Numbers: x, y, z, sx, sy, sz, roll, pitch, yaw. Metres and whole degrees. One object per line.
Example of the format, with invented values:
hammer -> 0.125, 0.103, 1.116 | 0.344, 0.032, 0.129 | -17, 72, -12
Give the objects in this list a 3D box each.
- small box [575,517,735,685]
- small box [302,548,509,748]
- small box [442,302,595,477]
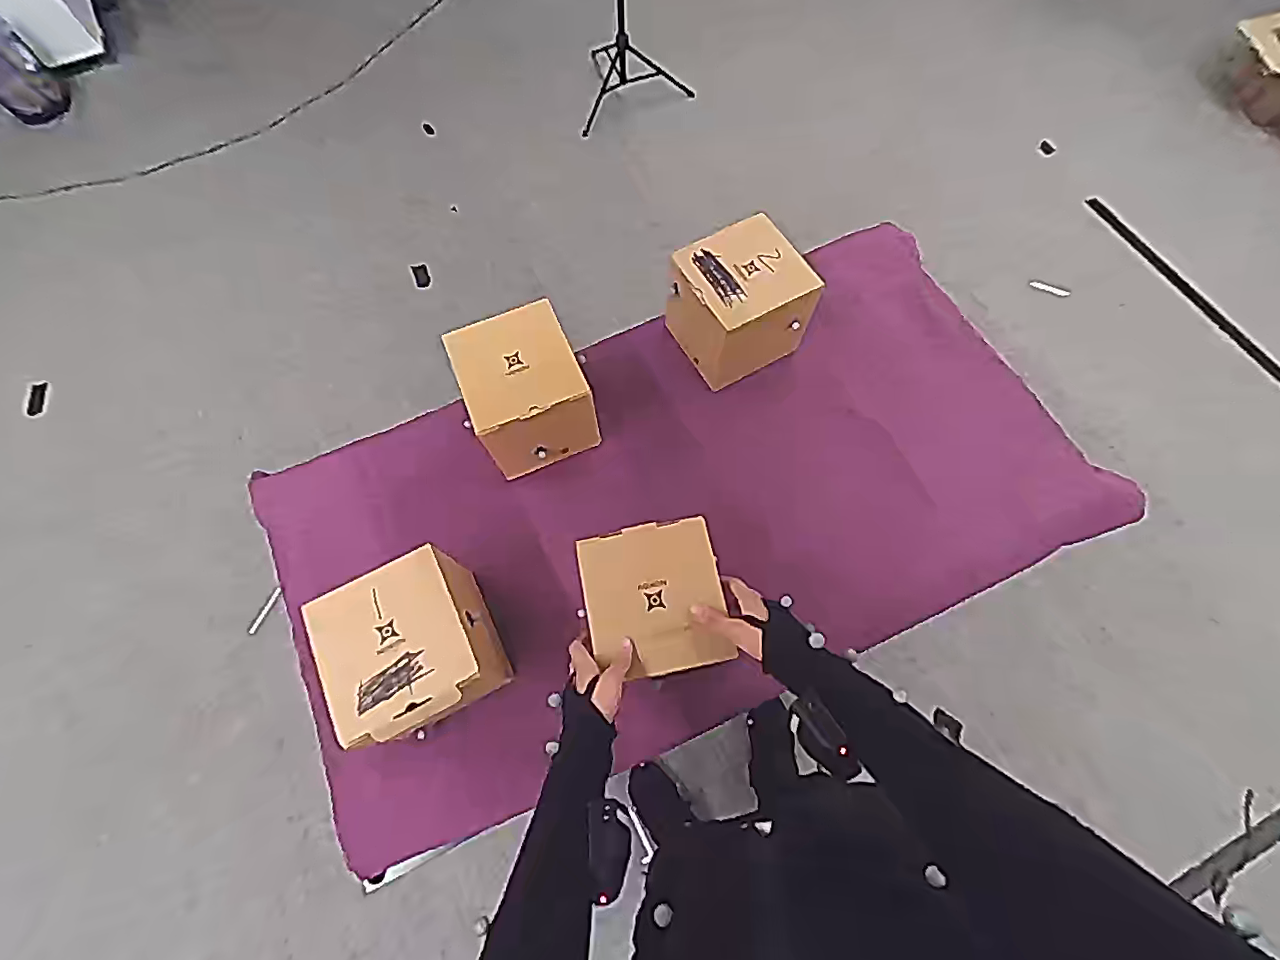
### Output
small box -> 0.015, 0.168, 0.718 | 0.168, 0.176, 0.179 | -11, 70, -3
small box -> -0.290, 0.216, 0.703 | 0.168, 0.176, 0.179 | -27, 69, -9
small box -> -0.178, -0.132, 0.833 | 0.168, 0.176, 0.179 | -23, 71, -8
